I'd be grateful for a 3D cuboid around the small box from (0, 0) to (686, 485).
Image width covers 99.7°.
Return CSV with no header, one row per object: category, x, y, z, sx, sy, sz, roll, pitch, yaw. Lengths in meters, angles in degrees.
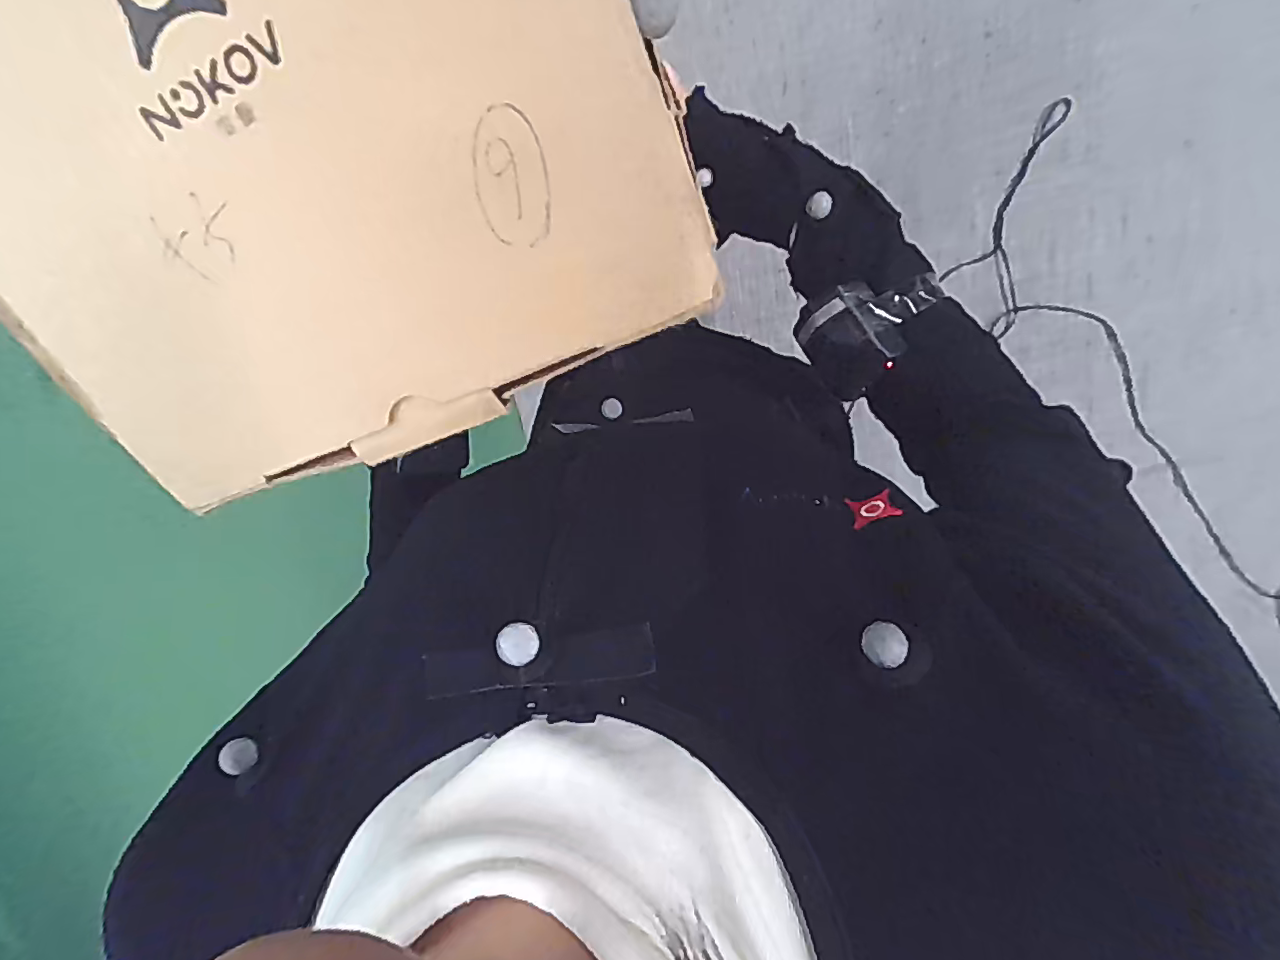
small box,-0.087,-0.130,0.175,0.168,0.176,0.179,-18,115,15
